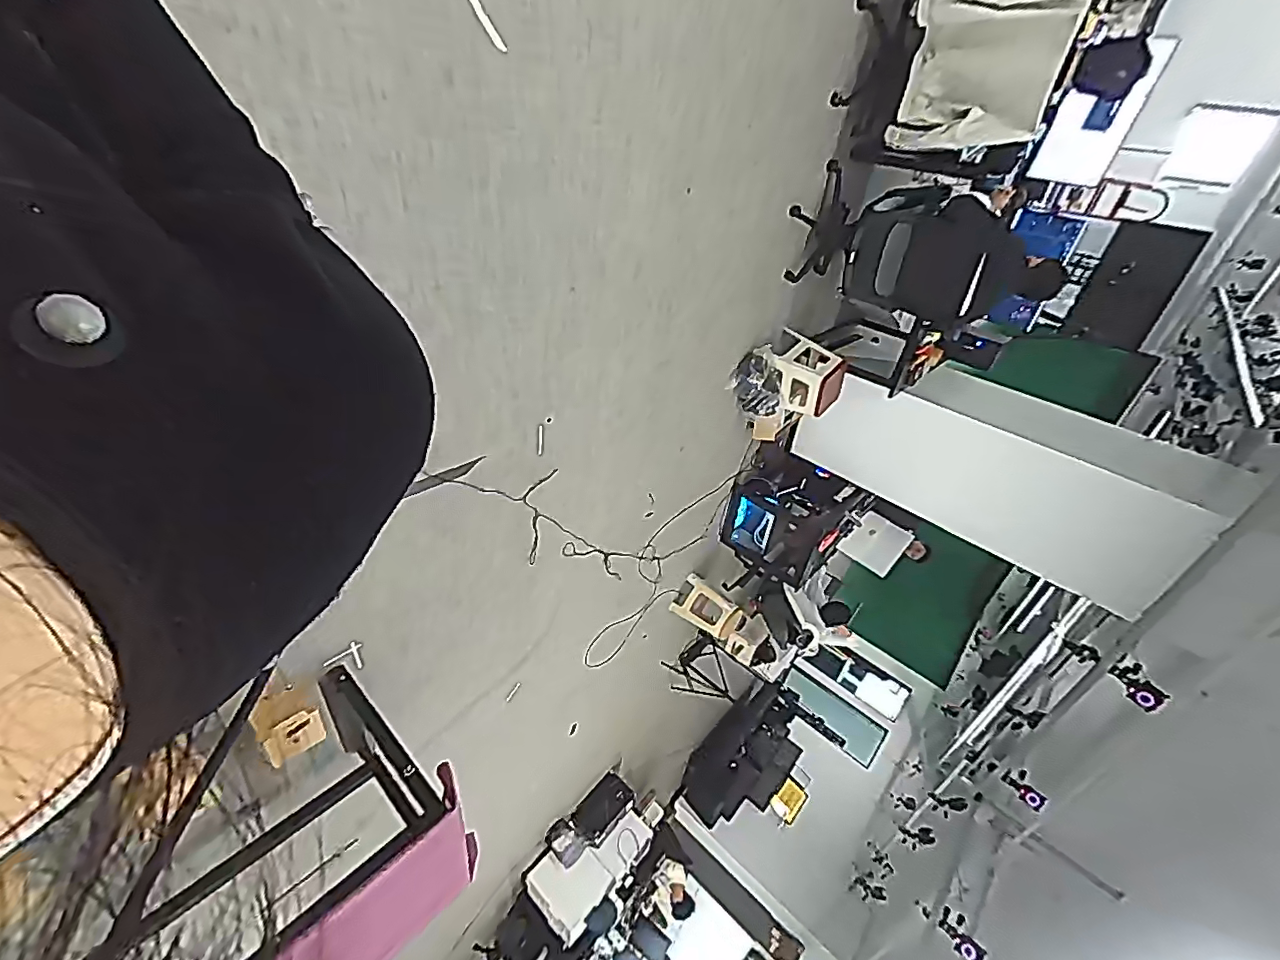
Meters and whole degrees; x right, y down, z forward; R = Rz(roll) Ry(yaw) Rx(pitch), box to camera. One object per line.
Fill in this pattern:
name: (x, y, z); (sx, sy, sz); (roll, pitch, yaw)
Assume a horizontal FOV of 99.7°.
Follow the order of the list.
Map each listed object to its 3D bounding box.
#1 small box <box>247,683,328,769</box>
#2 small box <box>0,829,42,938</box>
small box: (-1.189, 0.818, 1.824); (0.168, 0.176, 0.179); (-28, 139, -42)
small box: (-1.640, 1.032, 1.347); (0.179, 0.176, 0.168); (-12, 126, -53)
